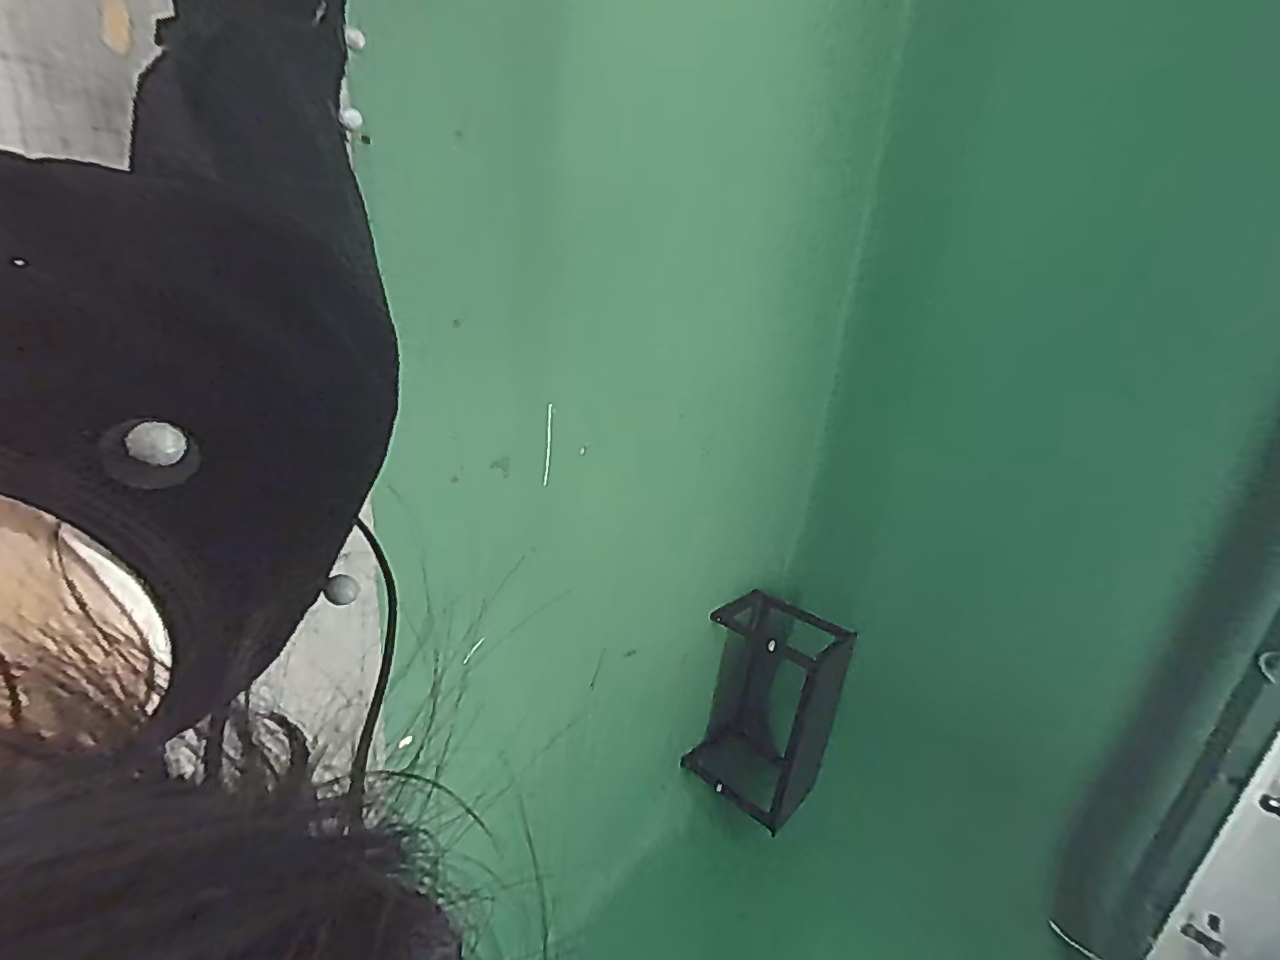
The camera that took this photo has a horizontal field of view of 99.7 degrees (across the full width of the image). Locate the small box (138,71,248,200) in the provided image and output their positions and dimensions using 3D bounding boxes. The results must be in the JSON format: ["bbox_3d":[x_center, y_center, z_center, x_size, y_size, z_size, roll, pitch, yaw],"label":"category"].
[{"bbox_3d":[-0.848,-0.655,1.054,0.179,0.176,0.168,-12,116,-49],"label":"small box"}]
